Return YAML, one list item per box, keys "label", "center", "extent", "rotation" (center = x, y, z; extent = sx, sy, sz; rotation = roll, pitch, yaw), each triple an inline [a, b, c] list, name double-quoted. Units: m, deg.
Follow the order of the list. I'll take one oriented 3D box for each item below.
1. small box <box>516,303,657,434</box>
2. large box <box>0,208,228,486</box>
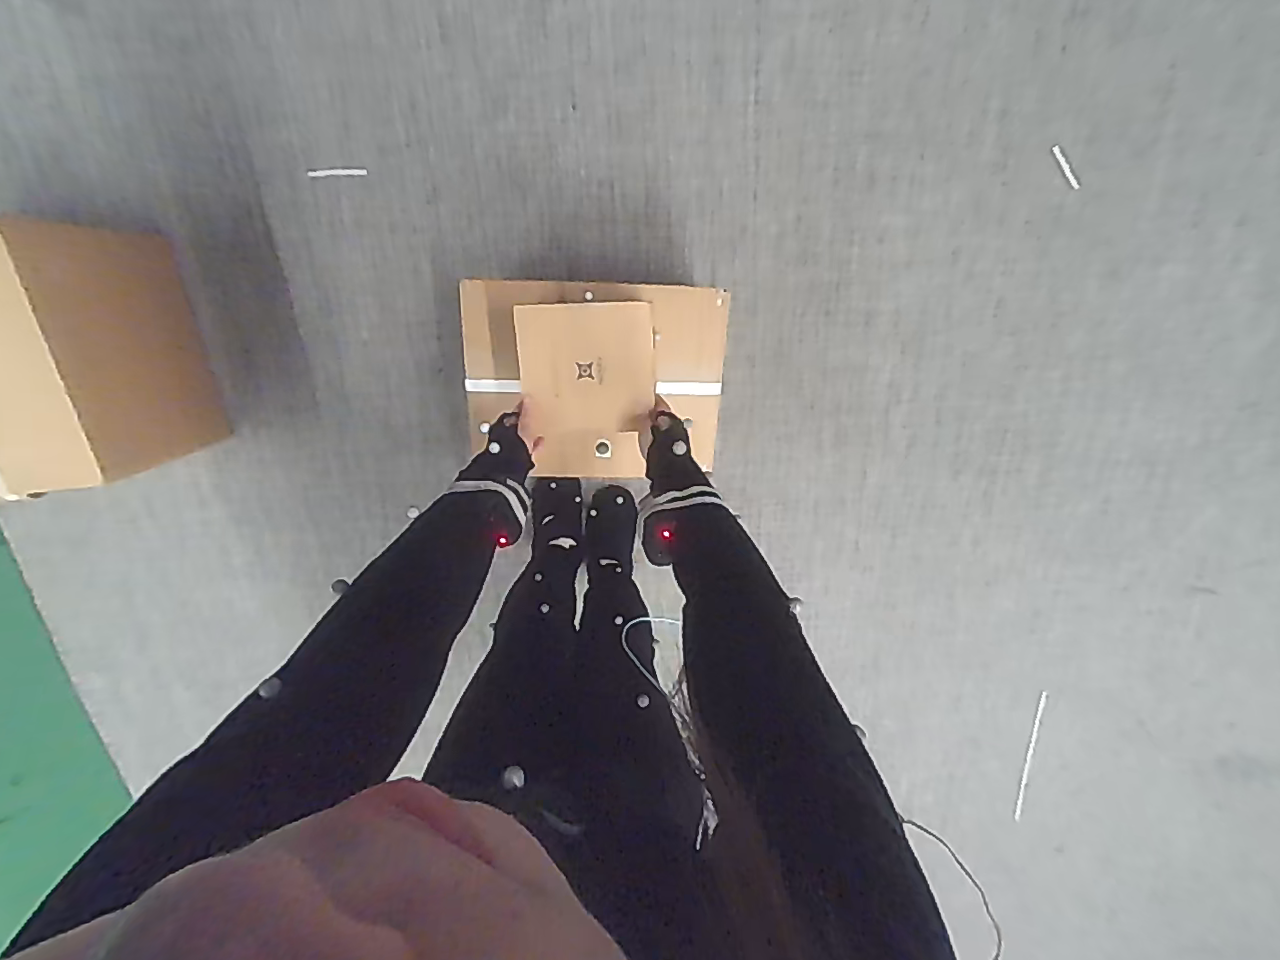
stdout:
- label: "small box"
  center: [-0.071, -0.163, 0.765]
  extent: [0.179, 0.176, 0.168]
  rotation: [-1, 107, -3]
- label: "large box"
  center: [-1.031, -0.223, 0.946]
  extent: [0.320, 0.320, 0.408]
  rotation: [-4, 108, -1]
